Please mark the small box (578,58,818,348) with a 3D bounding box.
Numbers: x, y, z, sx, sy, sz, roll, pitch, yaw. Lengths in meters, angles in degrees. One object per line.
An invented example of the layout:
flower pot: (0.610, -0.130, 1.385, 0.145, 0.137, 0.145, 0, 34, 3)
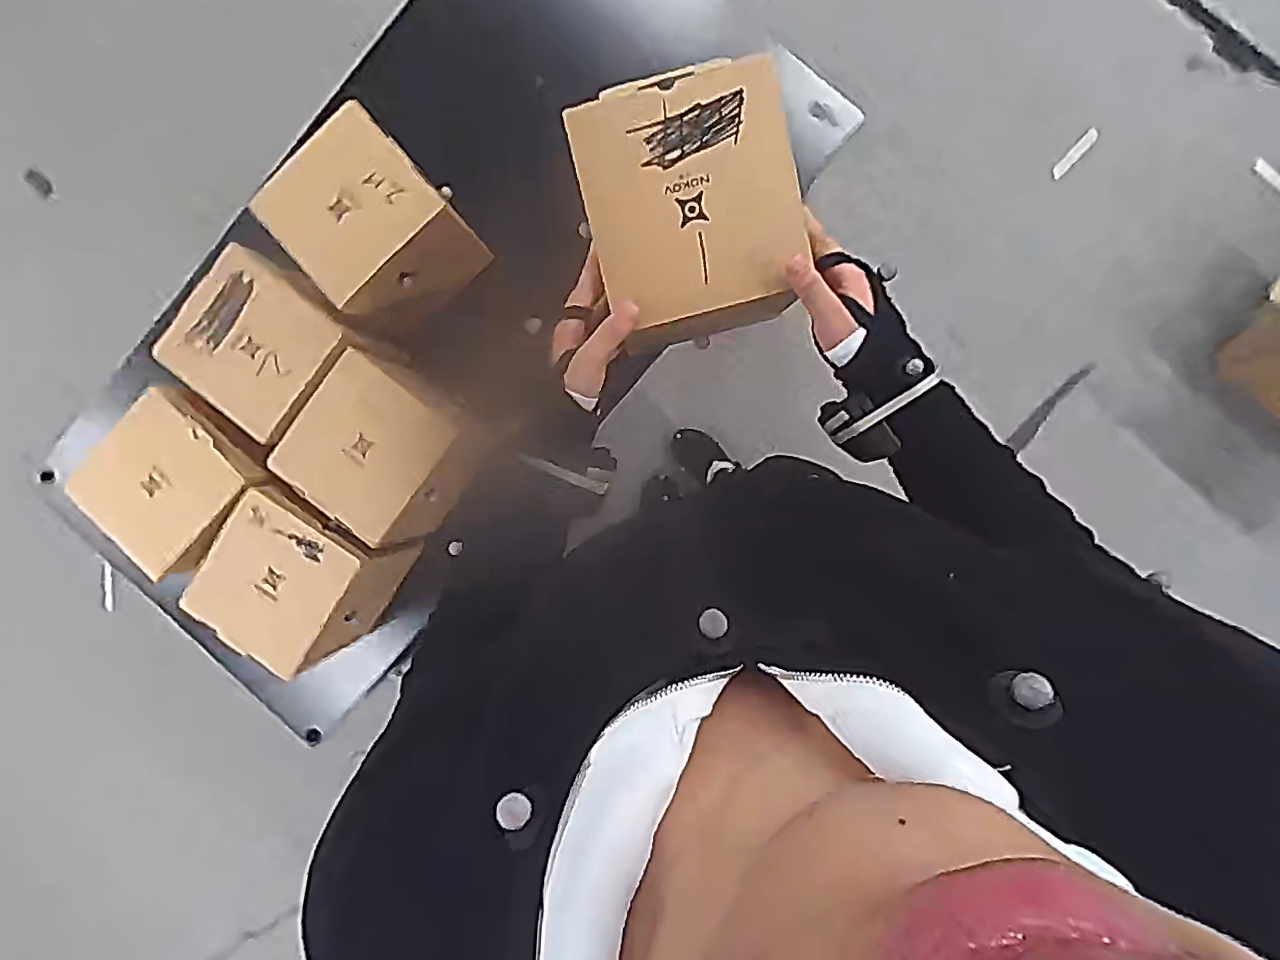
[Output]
small box: (0.049, -0.234, 0.507, 0.168, 0.176, 0.179, -12, 97, 5)
